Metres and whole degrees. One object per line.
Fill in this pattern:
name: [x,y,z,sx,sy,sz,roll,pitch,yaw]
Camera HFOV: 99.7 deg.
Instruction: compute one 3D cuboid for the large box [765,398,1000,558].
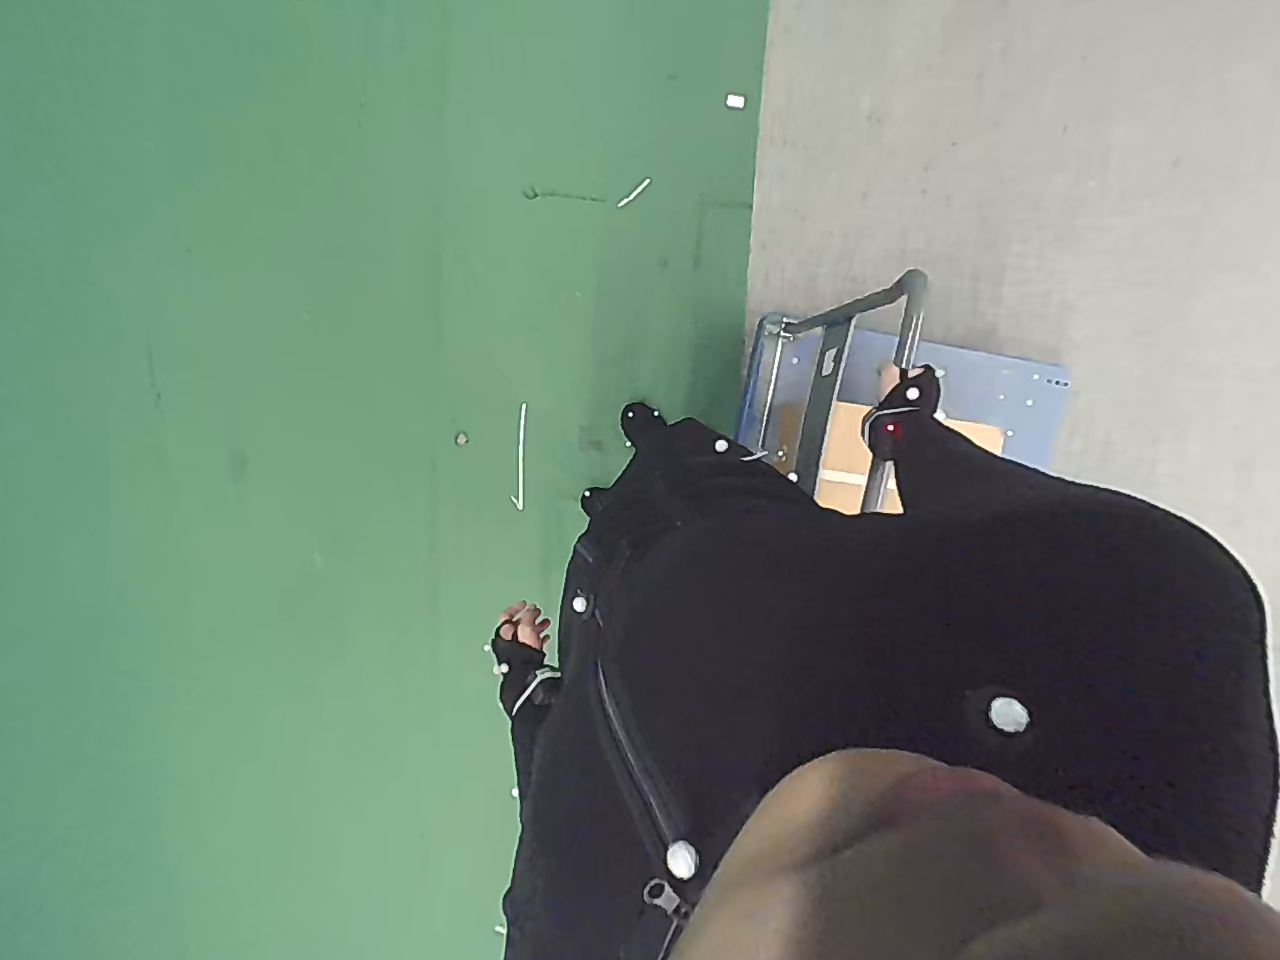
large box: [0.557,-0.017,1.321,0.408,0.320,0.320,8,97,-4]
